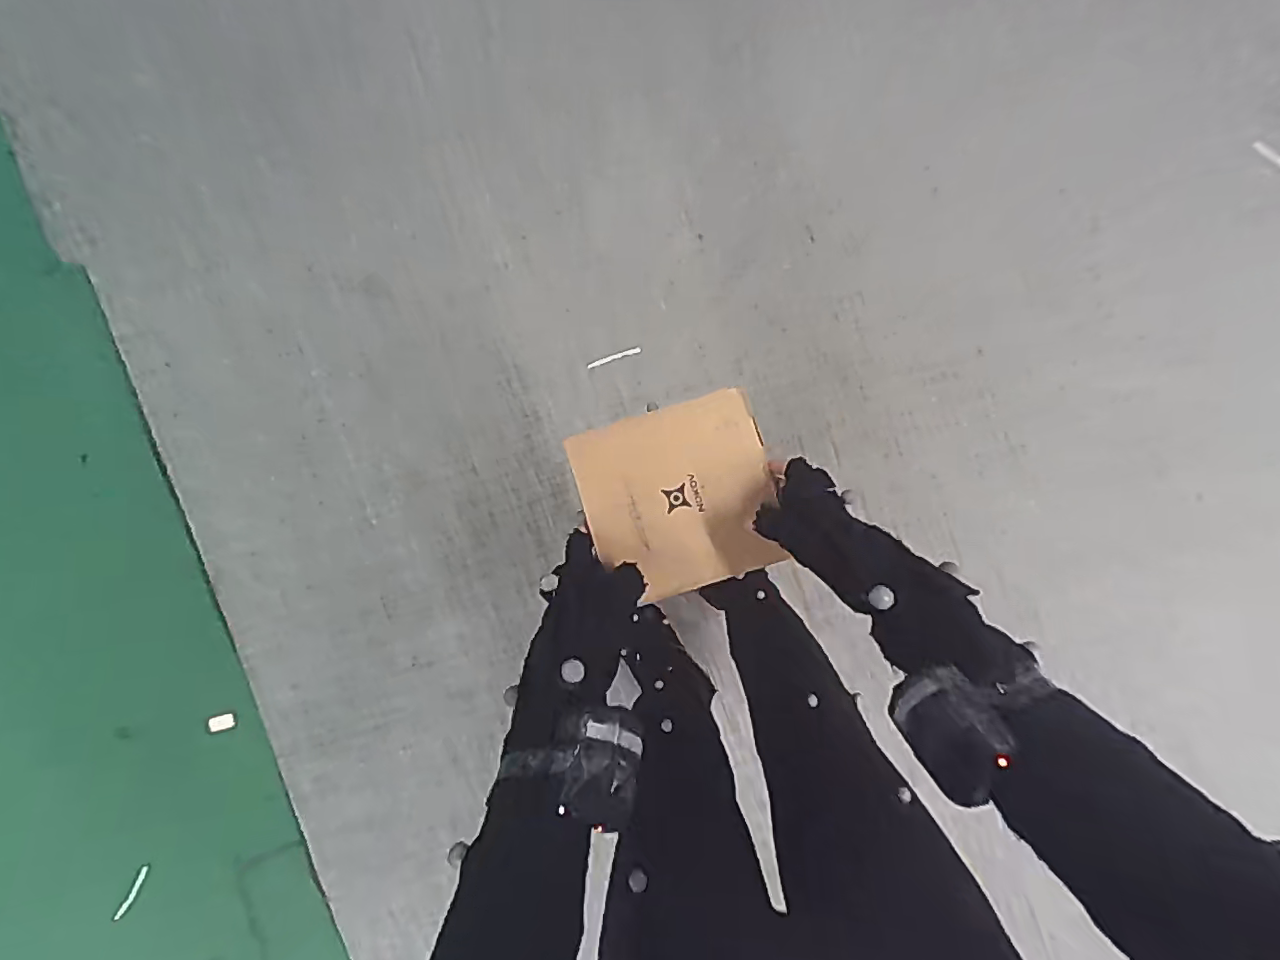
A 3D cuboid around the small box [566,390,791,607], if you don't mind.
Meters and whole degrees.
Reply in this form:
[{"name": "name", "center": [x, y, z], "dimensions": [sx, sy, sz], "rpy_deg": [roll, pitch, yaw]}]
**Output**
[{"name": "small box", "center": [0.034, 0.020, 0.580], "dimensions": [0.179, 0.176, 0.168], "rpy_deg": [-18, 86, -1]}]
